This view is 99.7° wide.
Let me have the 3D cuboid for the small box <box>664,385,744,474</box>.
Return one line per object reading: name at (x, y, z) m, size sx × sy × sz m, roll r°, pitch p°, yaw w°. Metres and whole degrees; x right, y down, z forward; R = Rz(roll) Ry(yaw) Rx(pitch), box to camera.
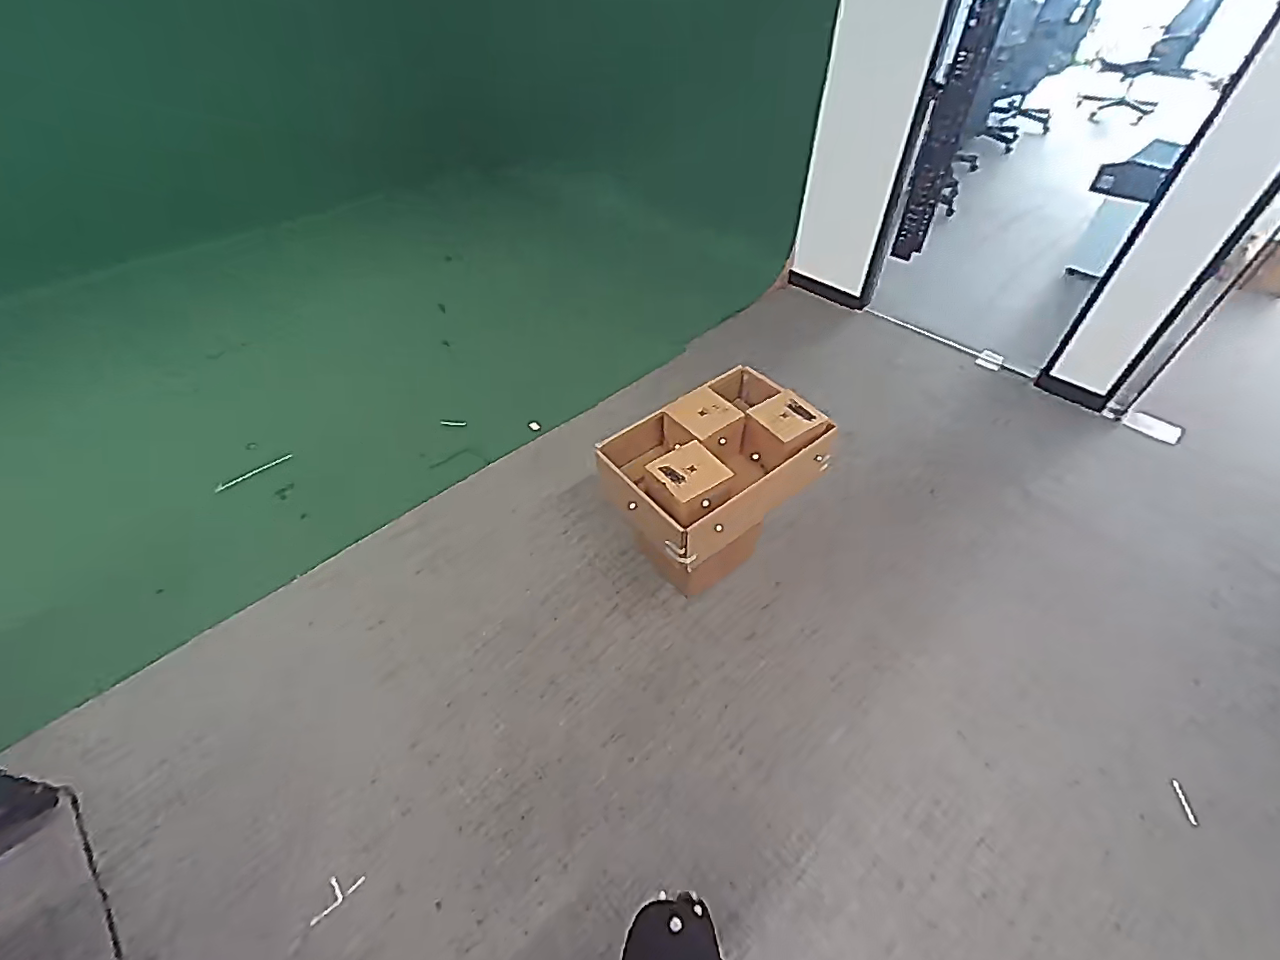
small box at (0.188, -0.149, 1.624) m, size 0.179 × 0.176 × 0.168 m, roll -31°, pitch 56°, yaw -23°
